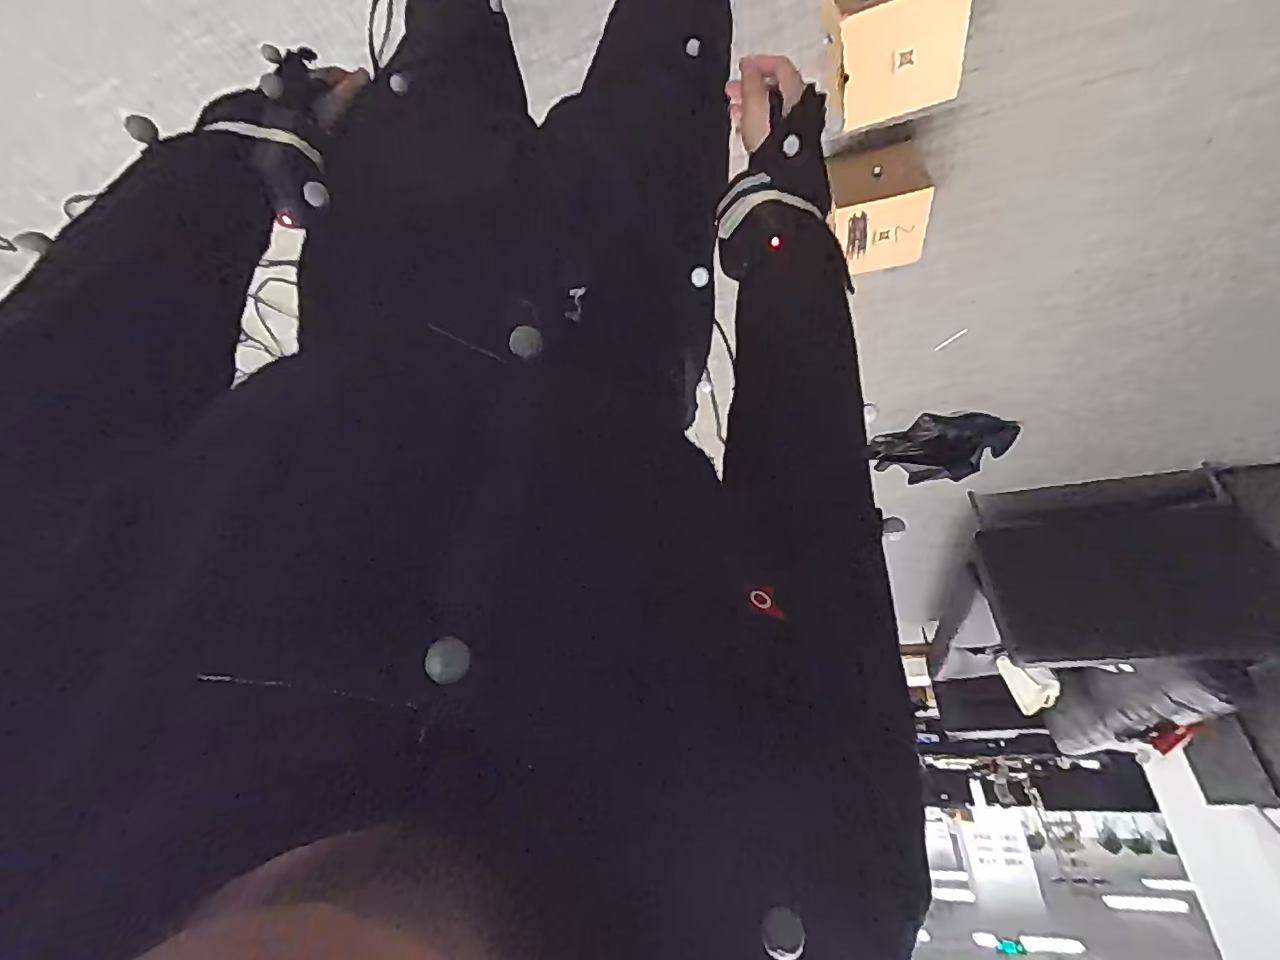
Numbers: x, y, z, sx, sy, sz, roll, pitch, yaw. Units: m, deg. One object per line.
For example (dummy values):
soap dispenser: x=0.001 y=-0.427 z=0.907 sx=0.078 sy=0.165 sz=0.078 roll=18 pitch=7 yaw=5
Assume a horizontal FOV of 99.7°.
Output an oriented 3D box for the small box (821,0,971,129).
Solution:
small box: x=0.387 y=-0.698 z=0.840 sx=0.179 sy=0.176 sz=0.168 roll=-9 pitch=149 yaw=16
